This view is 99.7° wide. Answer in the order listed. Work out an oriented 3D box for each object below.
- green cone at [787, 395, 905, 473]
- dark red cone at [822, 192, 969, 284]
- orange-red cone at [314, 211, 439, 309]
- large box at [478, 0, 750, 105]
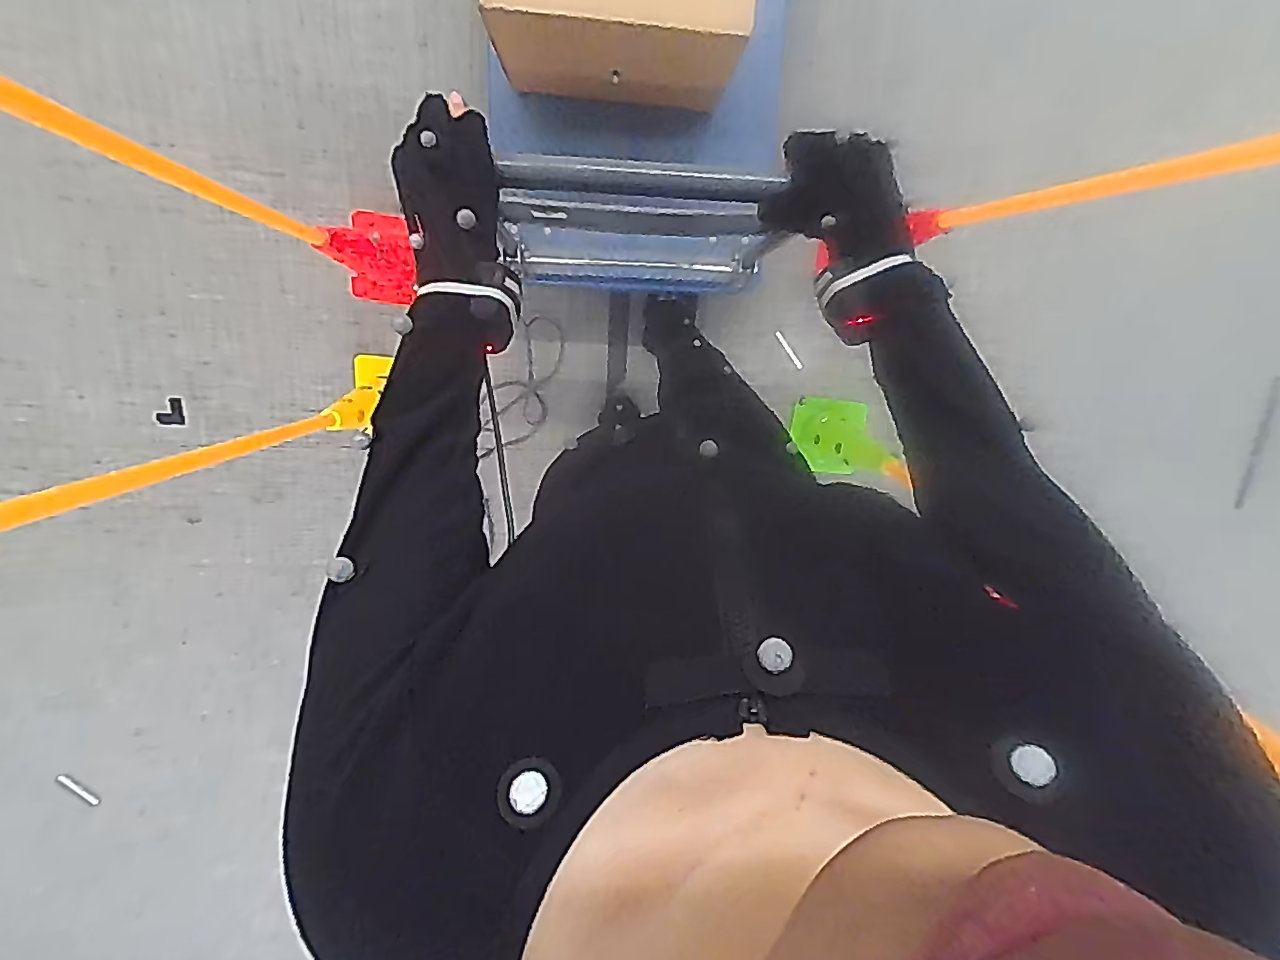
[{"bbox_3d":[0.517,-0.078,1.299,0.202,0.368,0.200,5,105,-5],"label":"green cone"},{"bbox_3d":[0.556,-0.539,1.153,0.201,0.394,0.202,1,106,-5],"label":"dark red cone"},{"bbox_3d":[-0.577,-0.483,1.132,0.198,0.360,0.199,8,104,-6],"label":"orange-red cone"},{"bbox_3d":[-0.034,-0.864,0.899,0.408,0.320,0.320,3,106,-3],"label":"large box"}]
